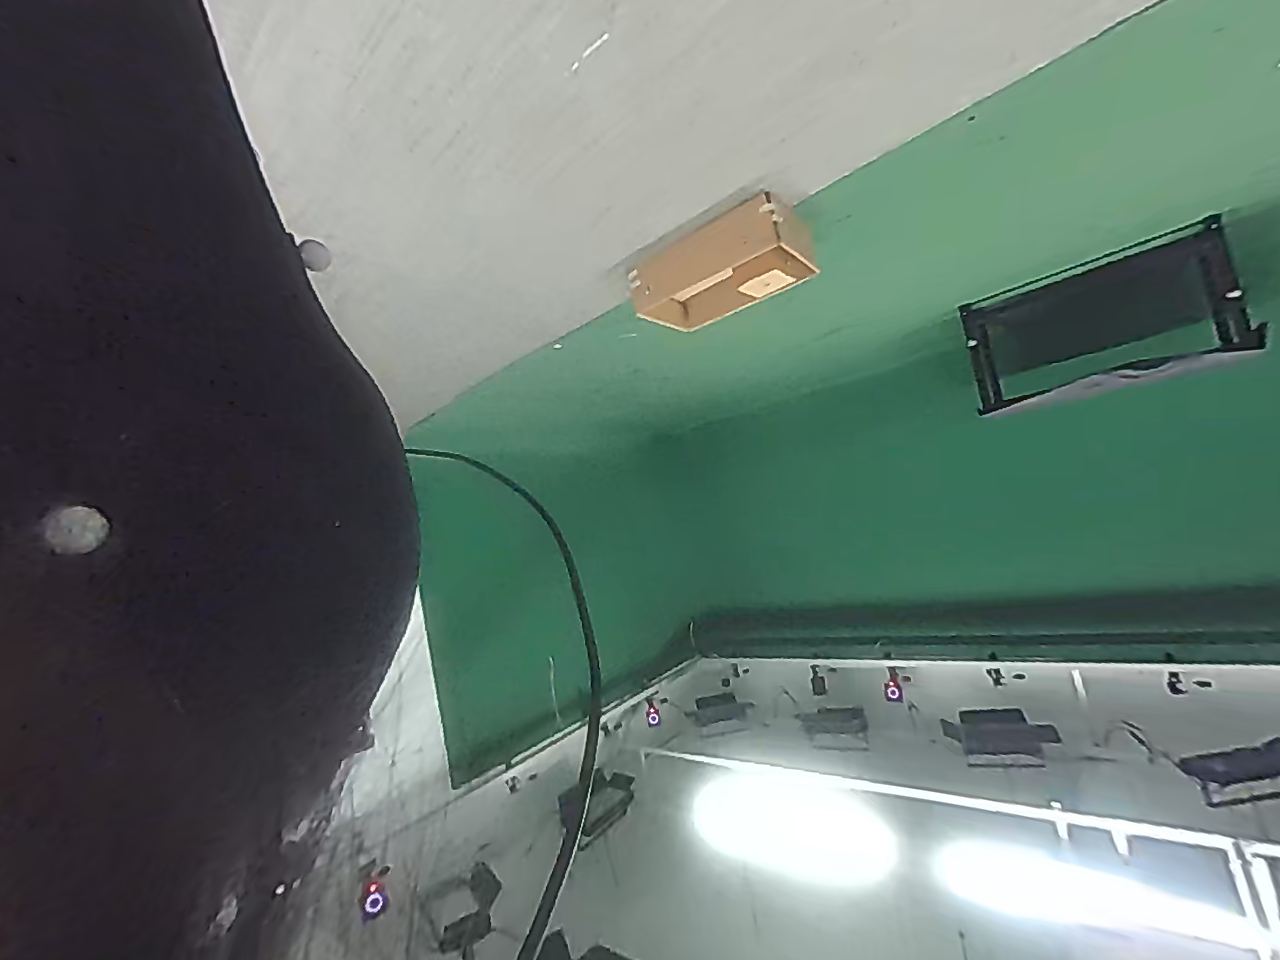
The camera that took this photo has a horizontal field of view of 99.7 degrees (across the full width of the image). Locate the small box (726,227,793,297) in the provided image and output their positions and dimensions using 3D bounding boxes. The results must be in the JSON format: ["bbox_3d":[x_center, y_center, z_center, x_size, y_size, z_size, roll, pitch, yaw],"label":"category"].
[{"bbox_3d":[0.438,-0.796,1.977,0.168,0.176,0.179,-15,173,40],"label":"small box"}]
